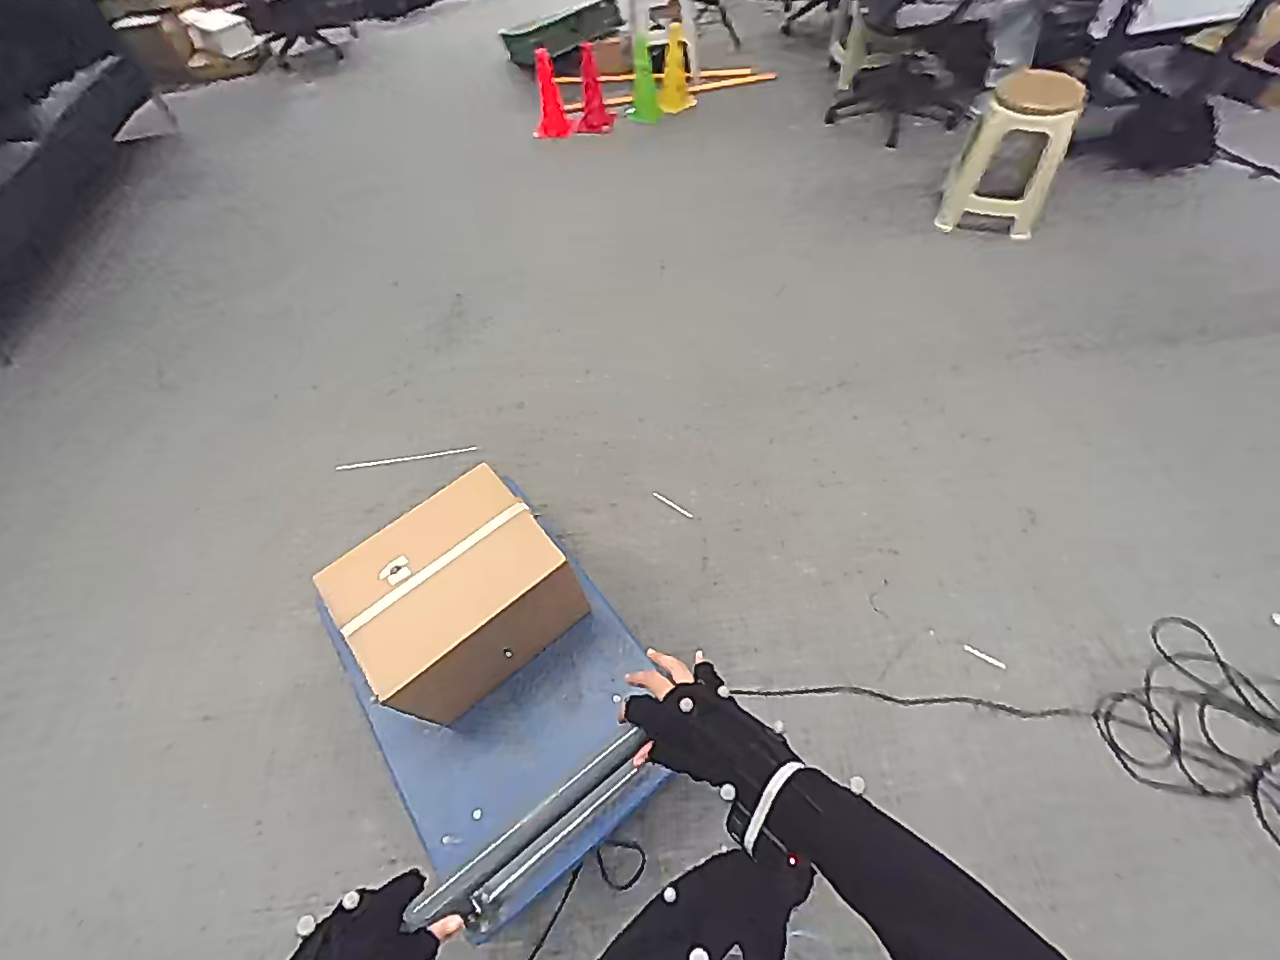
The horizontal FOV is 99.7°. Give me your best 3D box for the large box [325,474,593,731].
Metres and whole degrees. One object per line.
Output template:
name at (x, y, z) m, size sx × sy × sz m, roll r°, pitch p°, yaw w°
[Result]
large box at (-0.366, 0.270, 1.184) m, size 0.408 × 0.320 × 0.320 m, roll -37°, pitch 61°, yaw -16°
